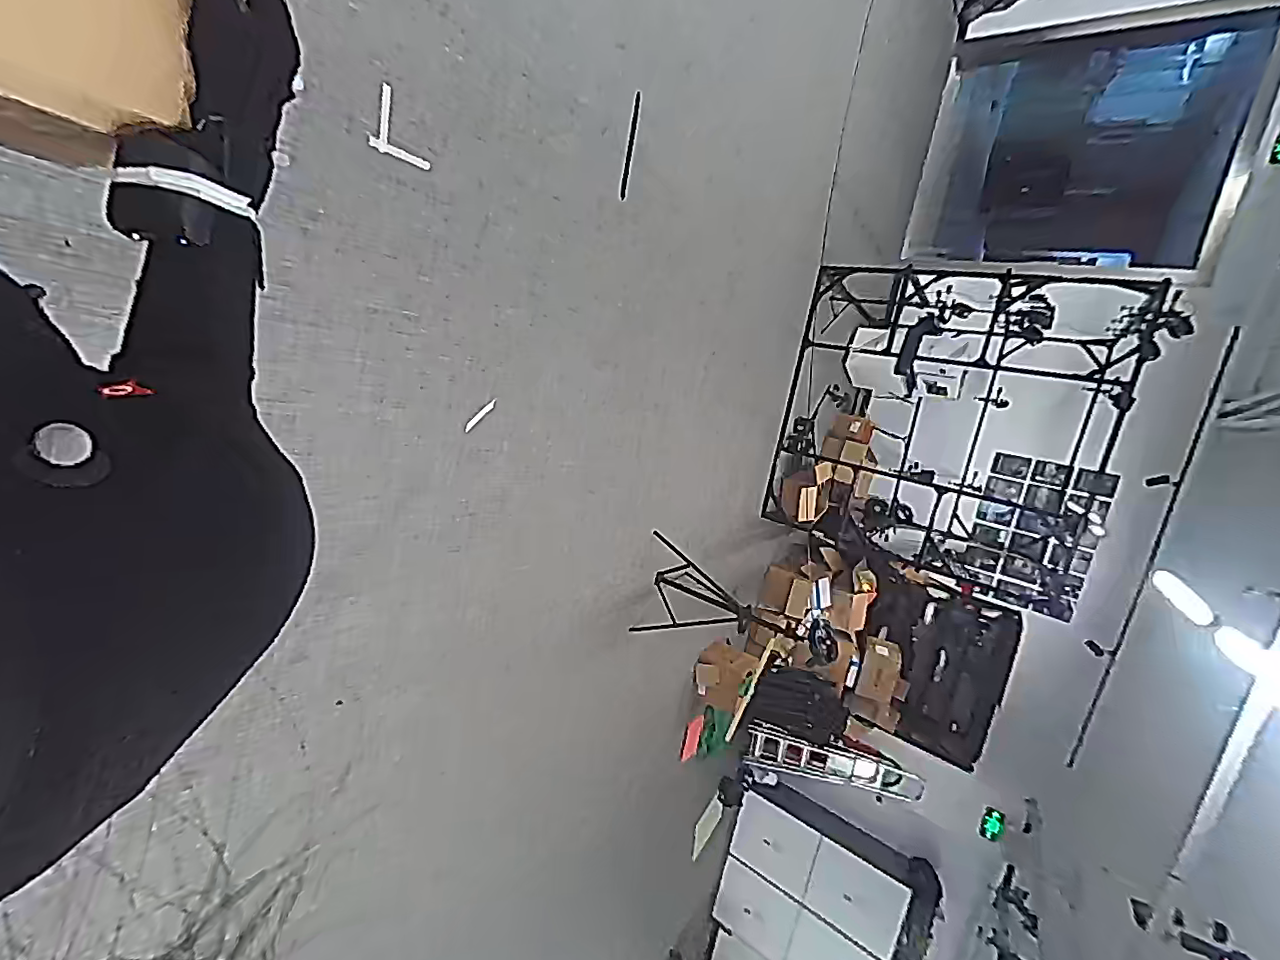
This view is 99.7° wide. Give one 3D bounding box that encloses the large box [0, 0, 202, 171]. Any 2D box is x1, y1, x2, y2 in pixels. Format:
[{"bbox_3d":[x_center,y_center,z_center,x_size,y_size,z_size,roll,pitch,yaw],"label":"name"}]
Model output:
[{"bbox_3d":[-0.536,-0.414,0.291,0.408,0.320,0.320,-2,109,-58],"label":"large box"}]
